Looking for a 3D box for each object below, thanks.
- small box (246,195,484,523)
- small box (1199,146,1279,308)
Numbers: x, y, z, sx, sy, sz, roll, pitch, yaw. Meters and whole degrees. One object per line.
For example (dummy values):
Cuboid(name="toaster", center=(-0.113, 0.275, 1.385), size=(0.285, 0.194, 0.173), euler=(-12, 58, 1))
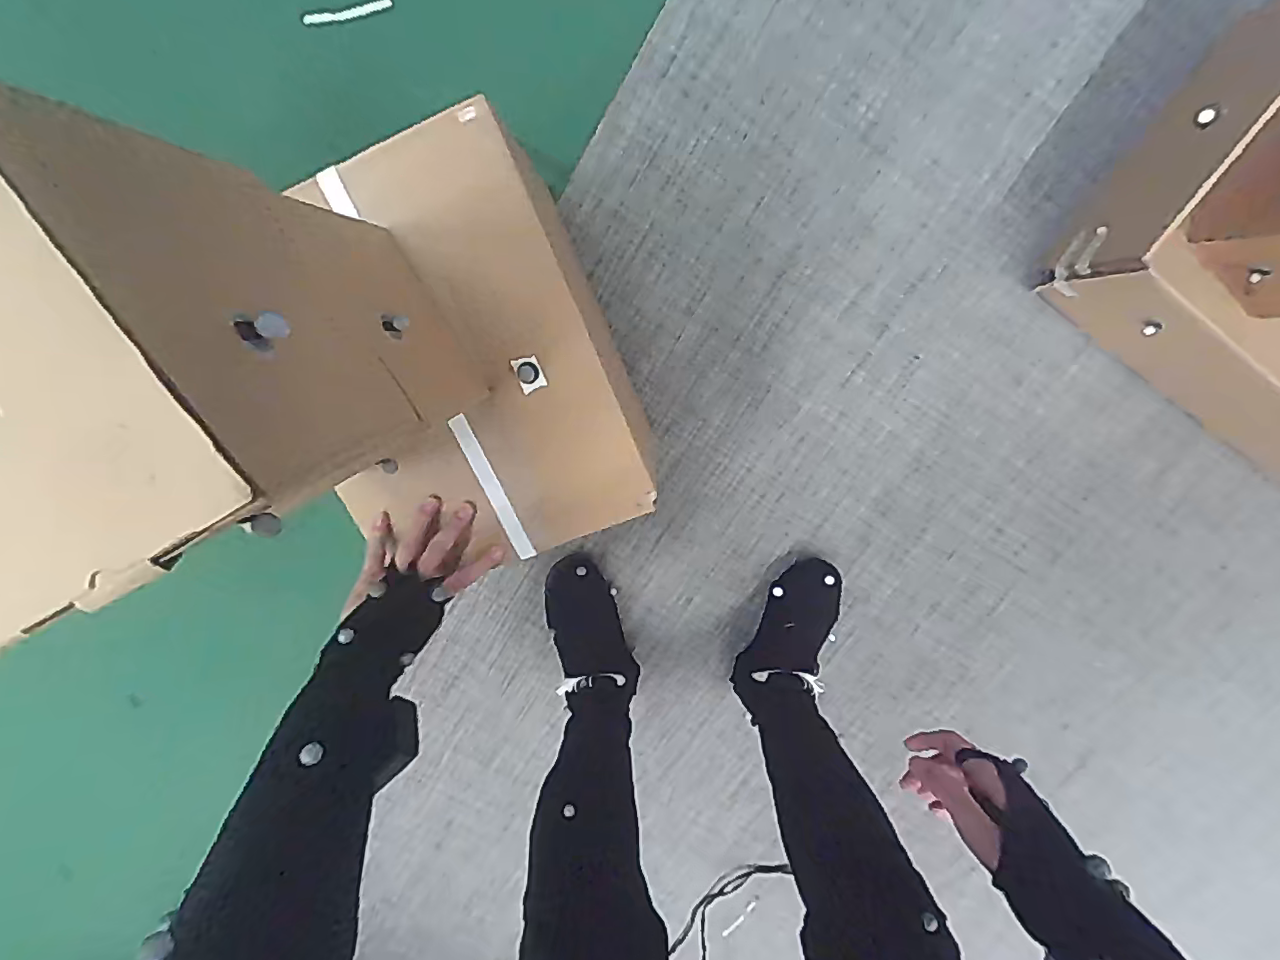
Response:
Cuboid(name="small box", center=(-0.256, -0.097, 0.446), size=(0.168, 0.176, 0.179), euler=(-27, 105, 7))
Cuboid(name="small box", center=(0.860, -0.324, 0.648), size=(0.168, 0.176, 0.179), euler=(34, 105, -13))
